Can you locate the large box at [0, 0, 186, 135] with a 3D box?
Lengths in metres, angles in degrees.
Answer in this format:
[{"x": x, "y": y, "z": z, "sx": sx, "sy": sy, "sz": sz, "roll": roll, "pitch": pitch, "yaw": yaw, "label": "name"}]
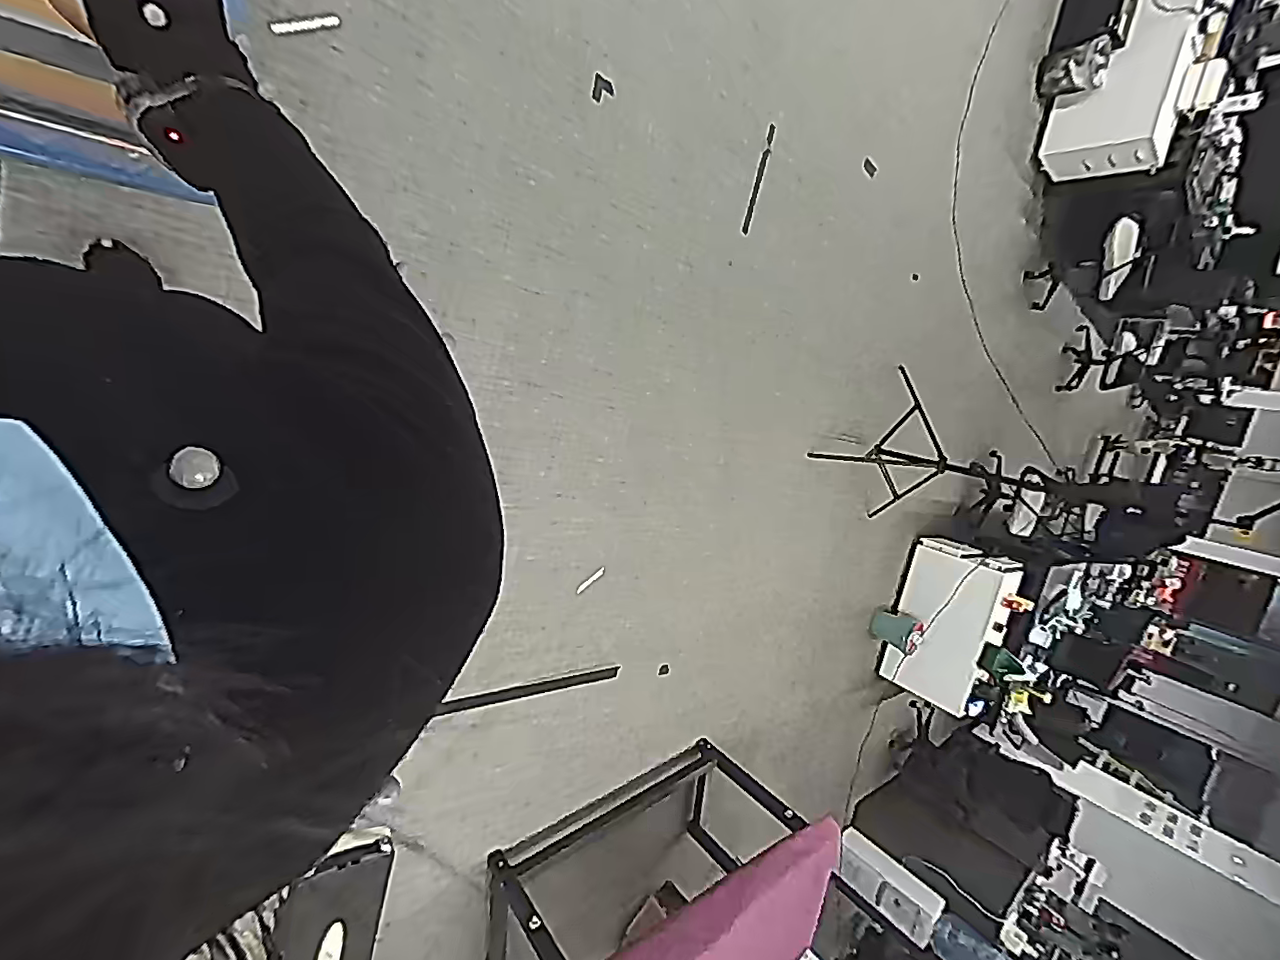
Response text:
[{"x": -0.819, "y": -0.689, "z": 0.651, "sx": 0.408, "sy": 0.320, "sz": 0.320, "roll": -1, "pitch": 105, "yaw": -42, "label": "large box"}]
